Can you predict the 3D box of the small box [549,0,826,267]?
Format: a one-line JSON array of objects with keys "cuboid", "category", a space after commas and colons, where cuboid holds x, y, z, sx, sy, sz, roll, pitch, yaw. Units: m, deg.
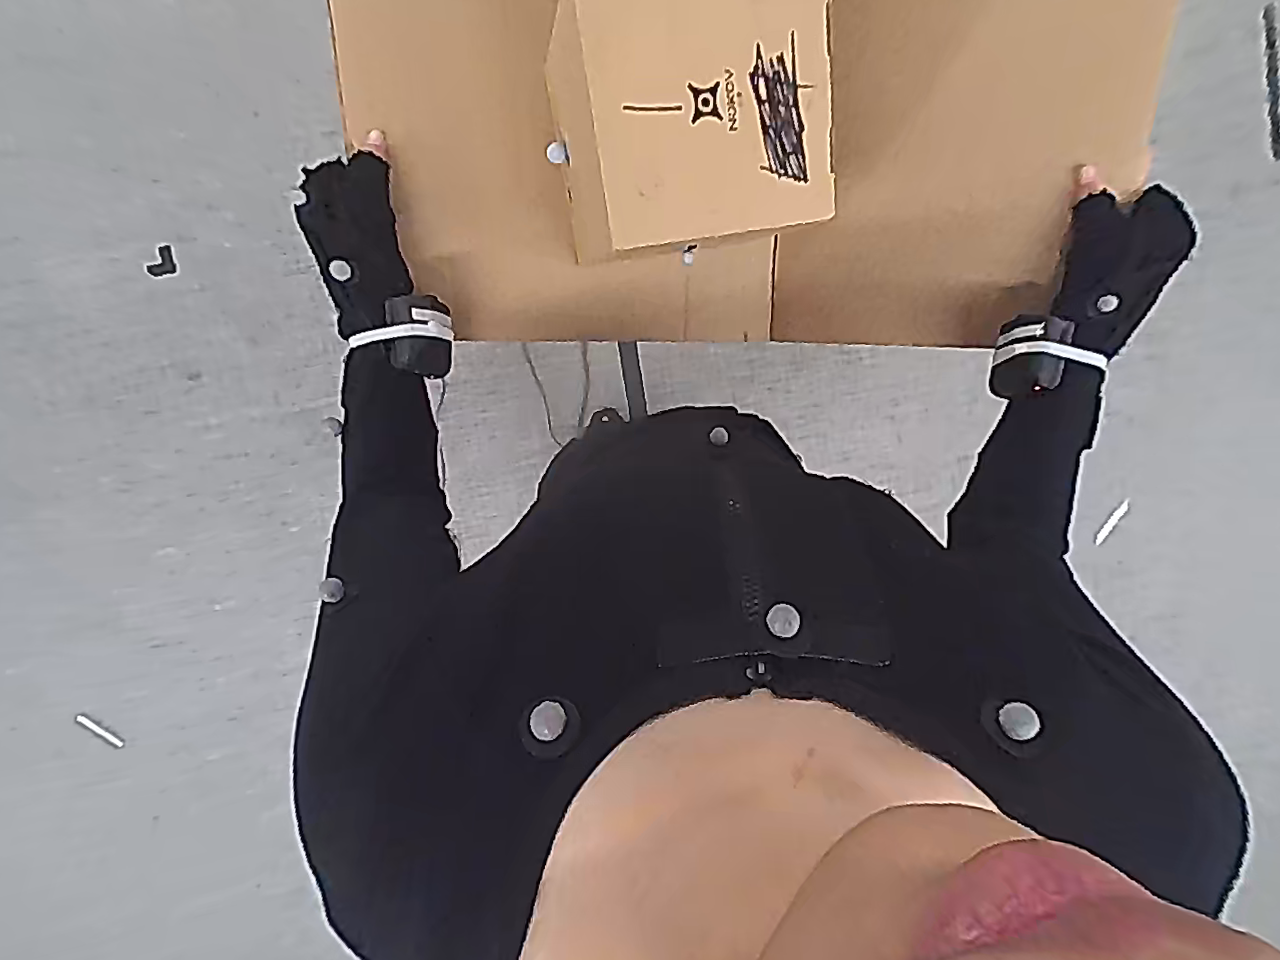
[{"cuboid": [0.031, -0.280, 0.451, 0.179, 0.176, 0.168, -13, 110, -10], "category": "small box"}]
